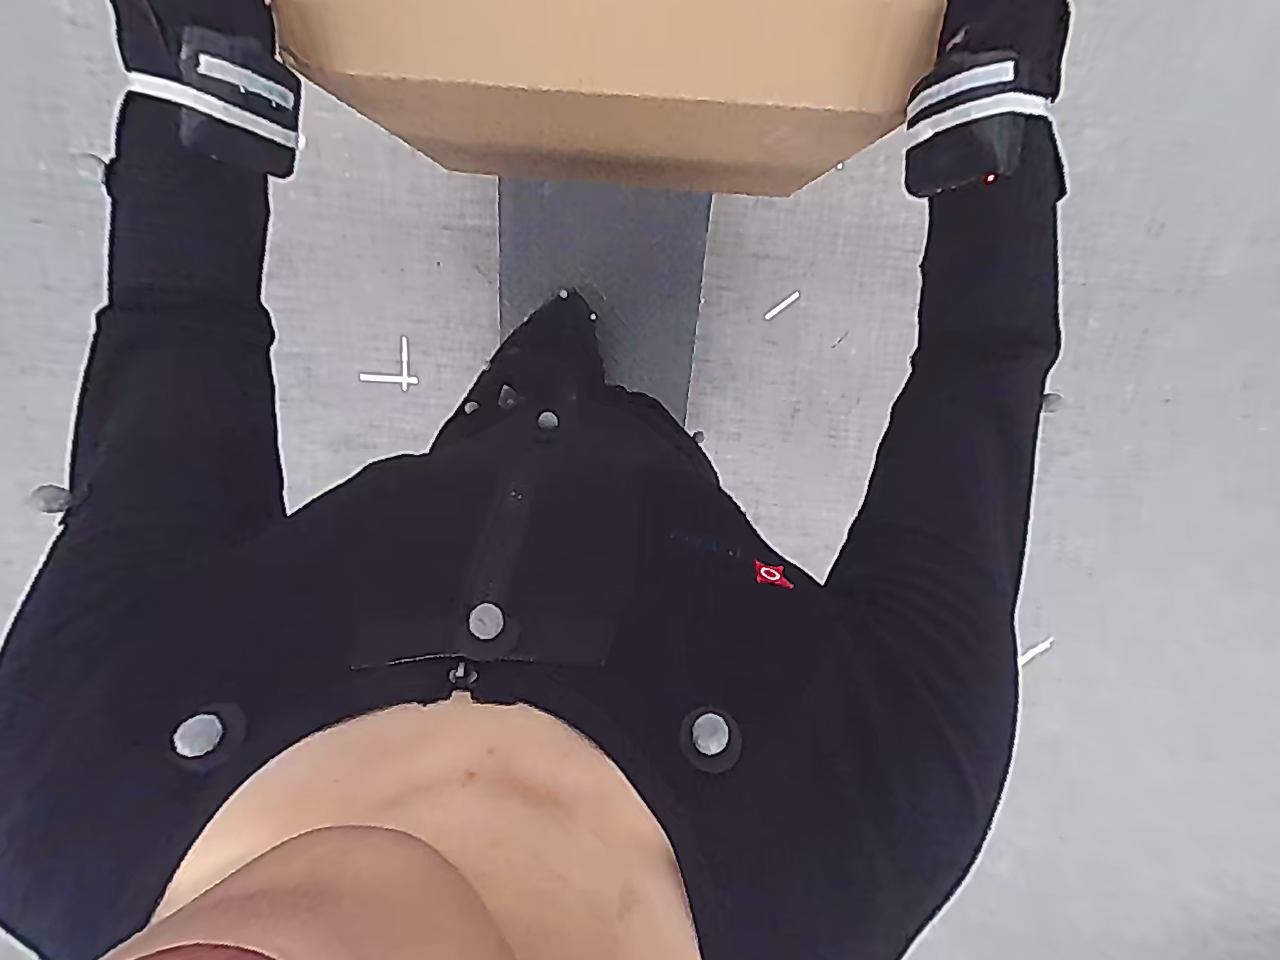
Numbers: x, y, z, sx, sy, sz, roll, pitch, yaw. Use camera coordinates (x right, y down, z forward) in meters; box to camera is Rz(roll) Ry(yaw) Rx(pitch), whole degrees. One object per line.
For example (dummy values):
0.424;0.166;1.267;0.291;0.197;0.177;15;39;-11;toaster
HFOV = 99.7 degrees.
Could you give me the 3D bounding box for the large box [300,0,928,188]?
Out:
-0.014;-0.449;0.448;0.408;0.320;0.320;3;109;-2;large box
